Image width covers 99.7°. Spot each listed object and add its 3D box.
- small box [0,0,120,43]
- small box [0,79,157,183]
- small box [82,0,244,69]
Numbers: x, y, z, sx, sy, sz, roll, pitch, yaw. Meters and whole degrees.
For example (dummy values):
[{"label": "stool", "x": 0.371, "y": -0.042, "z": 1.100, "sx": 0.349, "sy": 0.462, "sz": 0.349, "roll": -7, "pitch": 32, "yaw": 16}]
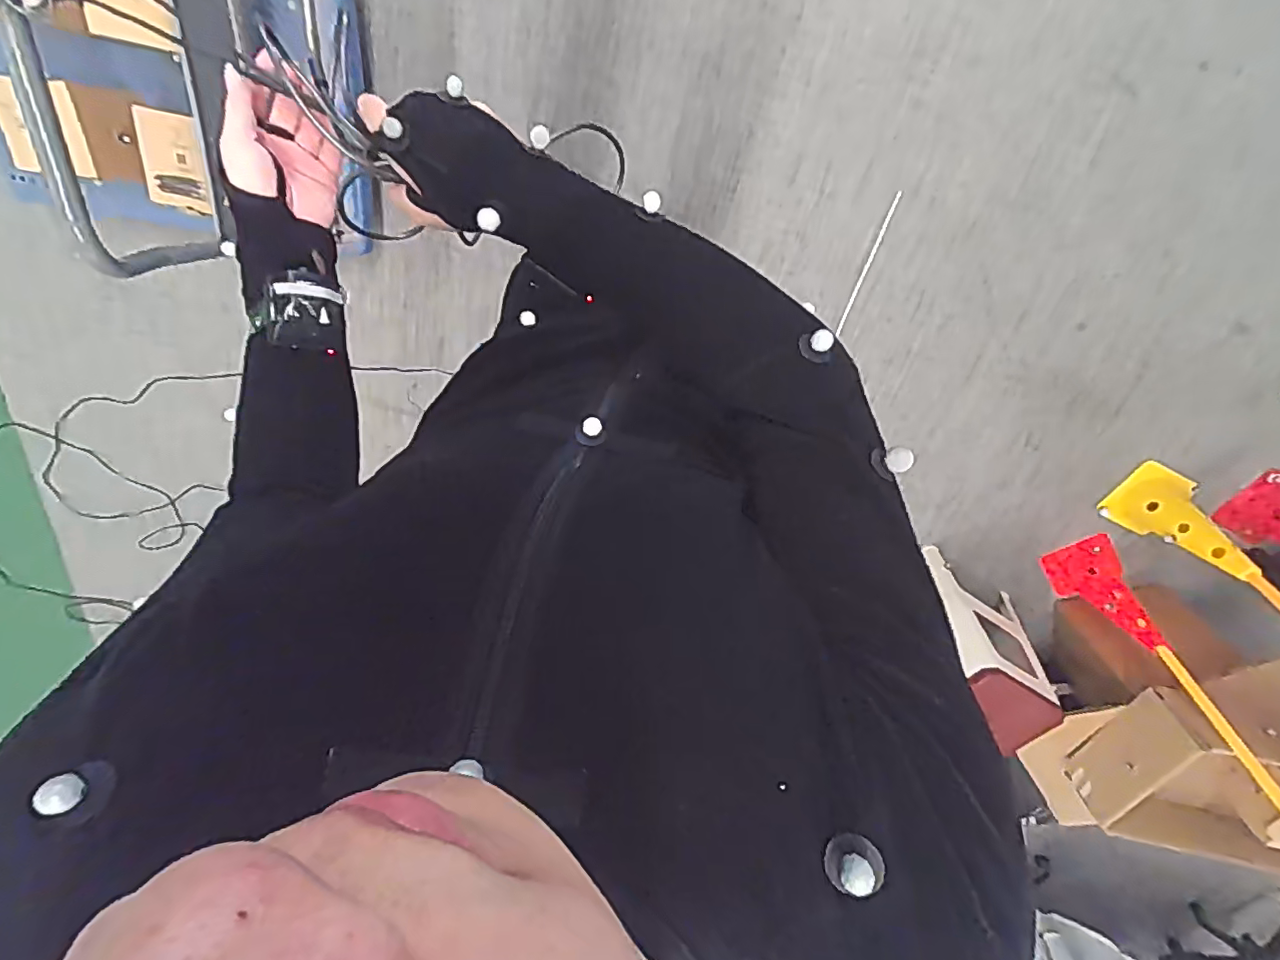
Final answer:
[{"label": "small box", "x": -1.152, "y": -0.956, "z": 1.026, "sx": 0.179, "sy": 0.176, "sz": 0.168, "roll": 8, "pitch": 120, "yaw": 0}, {"label": "small box", "x": -1.189, "y": -0.737, "z": 1.152, "sx": 0.179, "sy": 0.176, "sz": 0.168, "roll": 7, "pitch": 118, "yaw": 1}, {"label": "small box", "x": -0.909, "y": -0.911, "z": 1.031, "sx": 0.179, "sy": 0.176, "sz": 0.168, "roll": 11, "pitch": 119, "yaw": -1}]
